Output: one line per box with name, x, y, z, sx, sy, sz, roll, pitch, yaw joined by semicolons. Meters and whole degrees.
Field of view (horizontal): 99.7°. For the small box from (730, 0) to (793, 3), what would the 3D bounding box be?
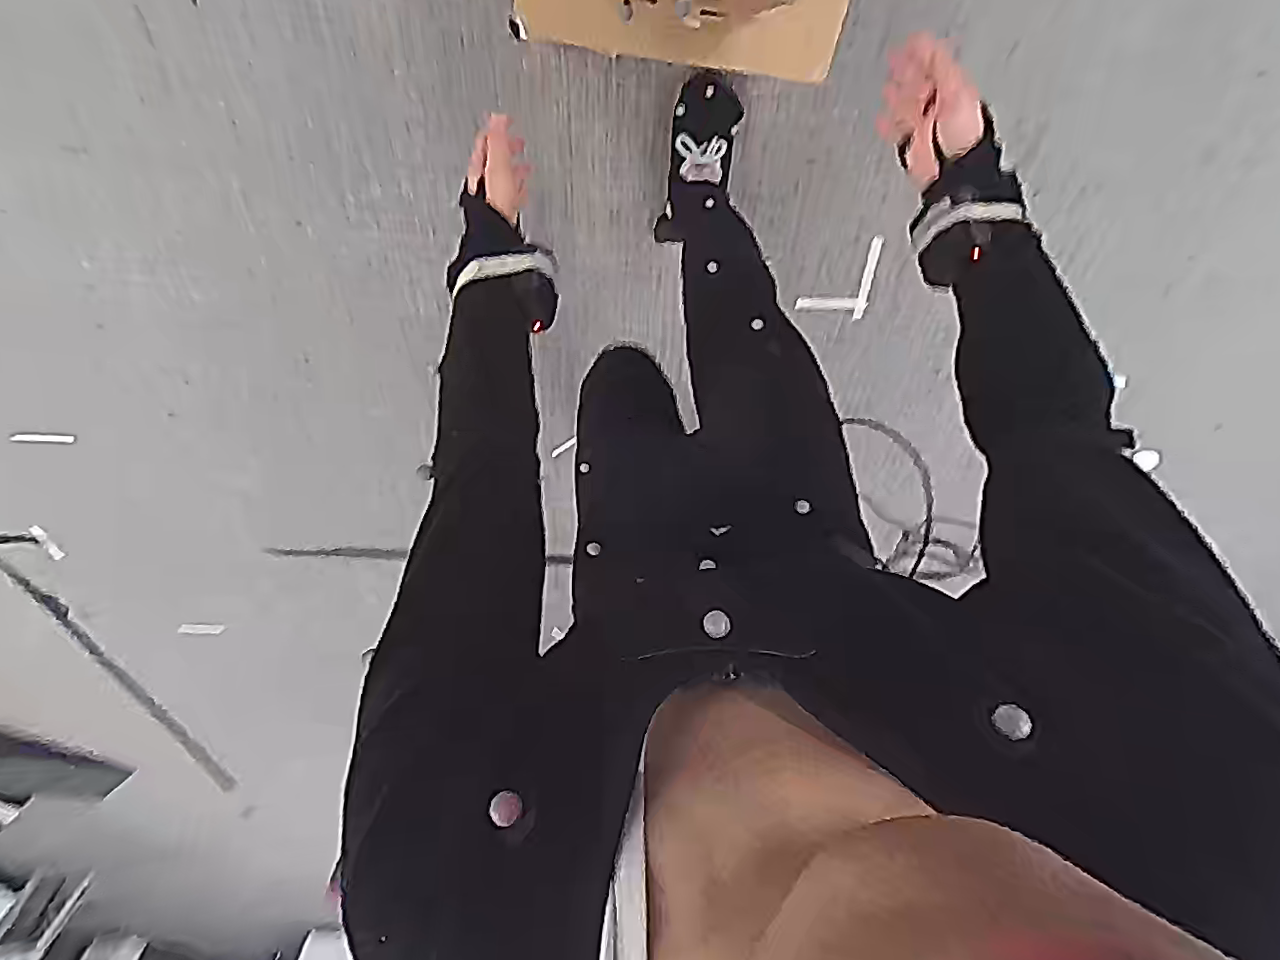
small box;0.052;-0.486;0.406;0.168;0.176;0.179;6;130;-6
